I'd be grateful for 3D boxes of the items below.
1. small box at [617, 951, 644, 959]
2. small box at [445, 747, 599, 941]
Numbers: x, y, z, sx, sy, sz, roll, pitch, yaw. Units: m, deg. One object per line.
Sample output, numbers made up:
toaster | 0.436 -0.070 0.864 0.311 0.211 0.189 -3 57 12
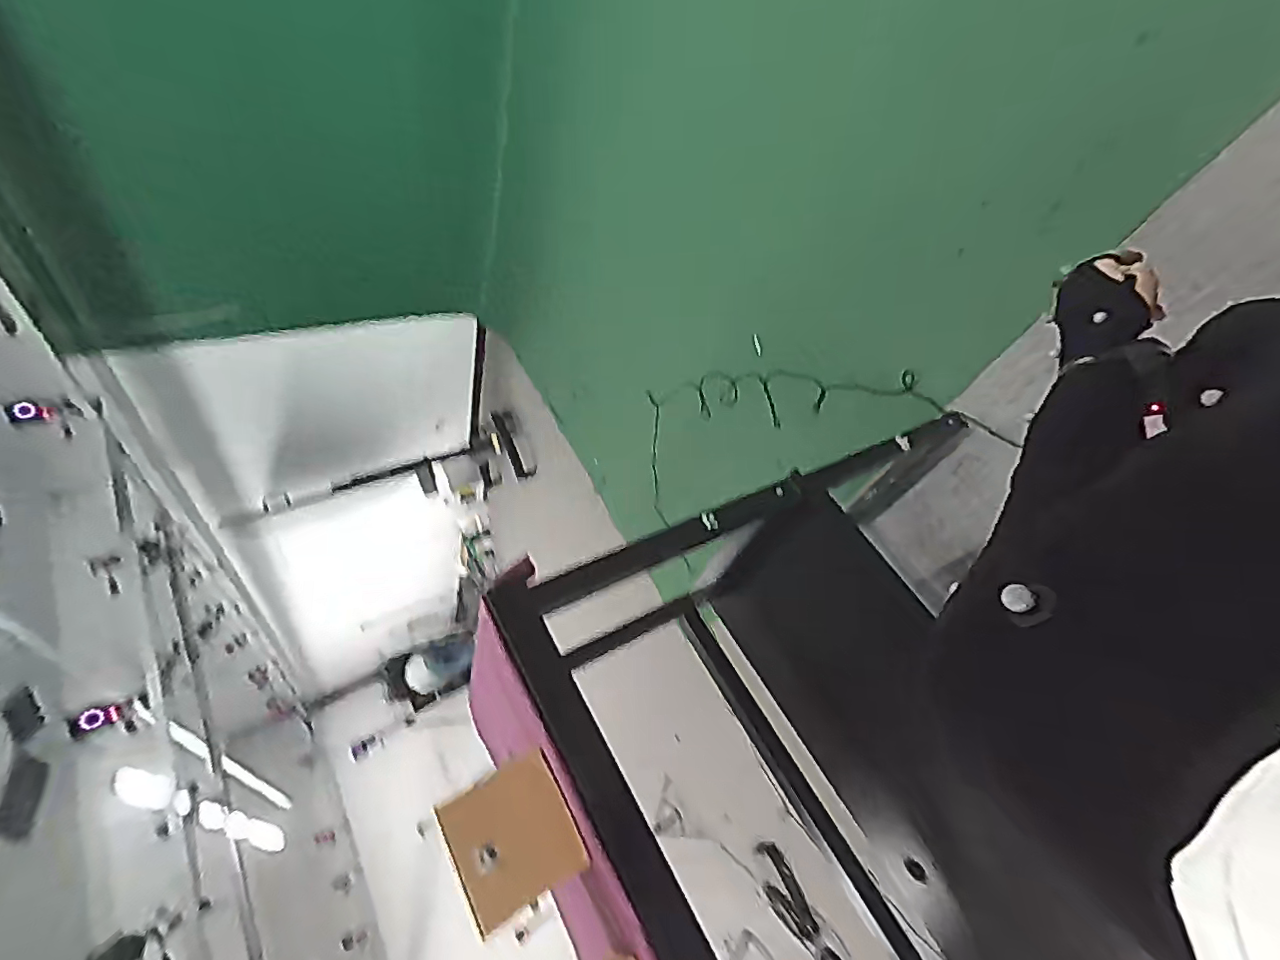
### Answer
small box | -0.025 0.779 0.708 0.179 0.176 0.168 55 147 25
small box | -0.184 0.545 0.828 0.179 0.176 0.168 57 147 21
